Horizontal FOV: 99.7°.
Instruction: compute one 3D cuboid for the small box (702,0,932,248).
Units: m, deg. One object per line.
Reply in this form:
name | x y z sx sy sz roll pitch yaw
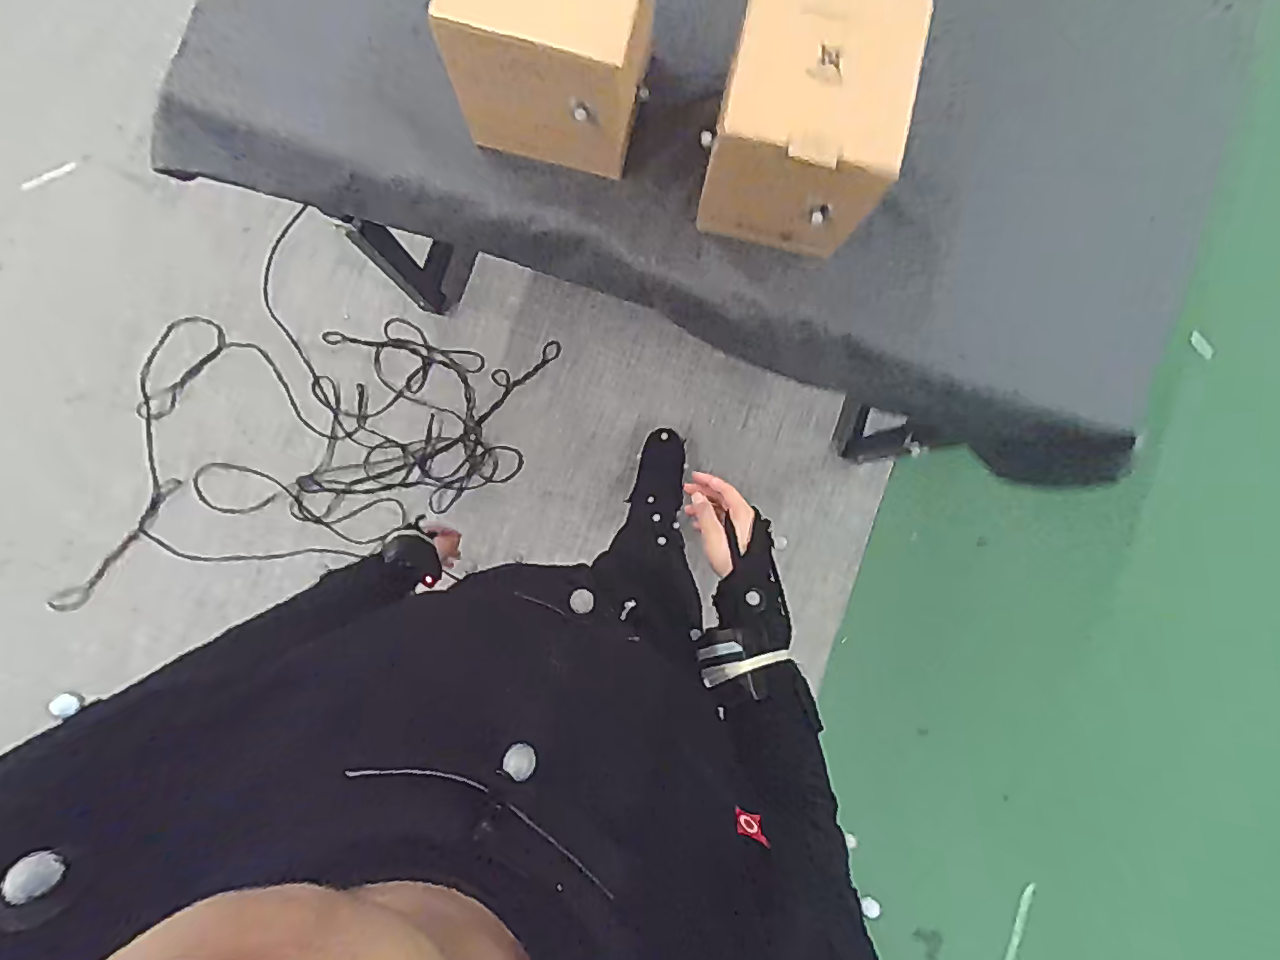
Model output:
small box | 0.166 -0.371 0.563 0.168 0.176 0.179 11 86 -3
